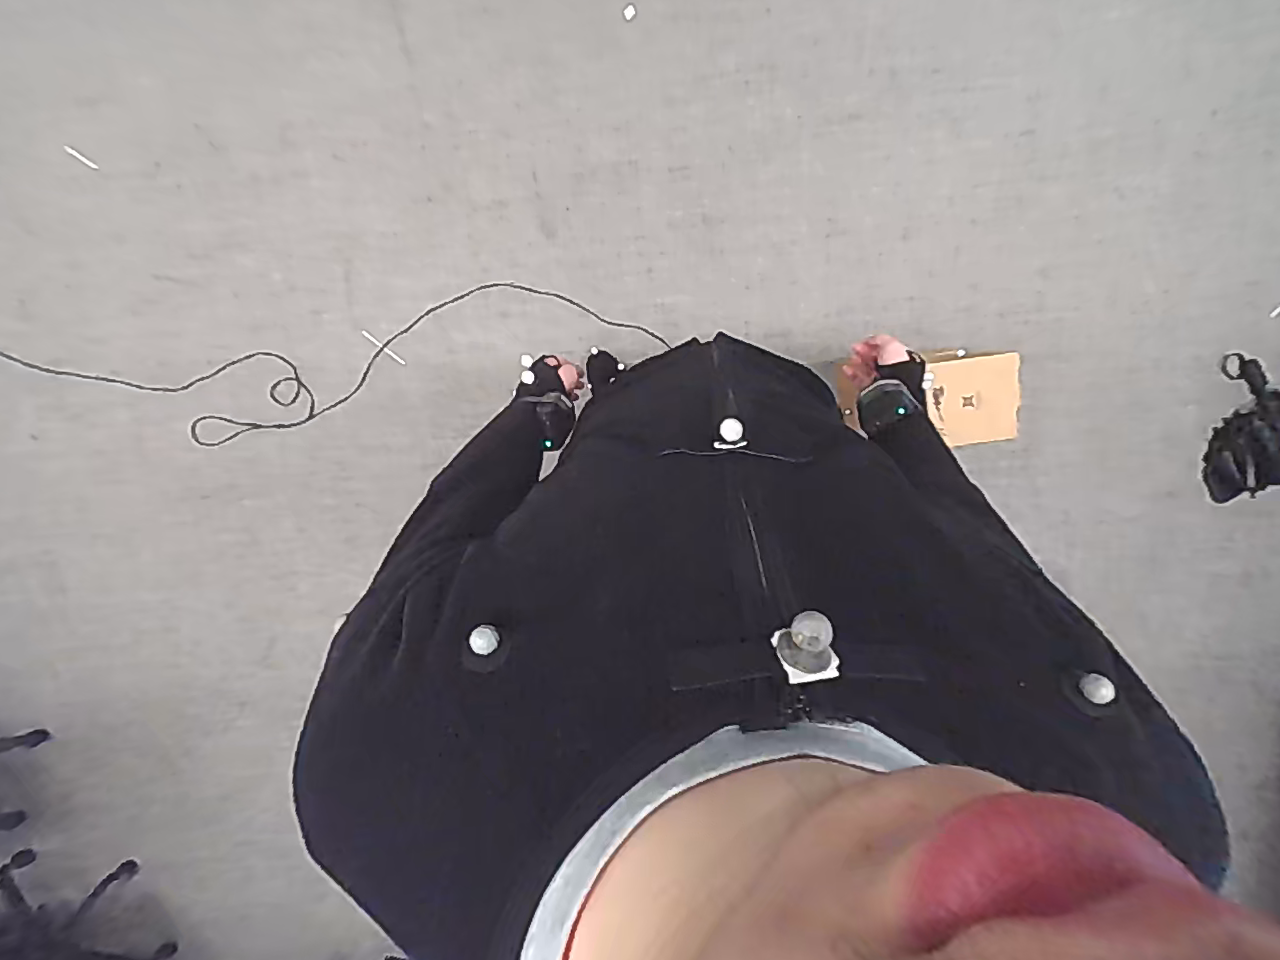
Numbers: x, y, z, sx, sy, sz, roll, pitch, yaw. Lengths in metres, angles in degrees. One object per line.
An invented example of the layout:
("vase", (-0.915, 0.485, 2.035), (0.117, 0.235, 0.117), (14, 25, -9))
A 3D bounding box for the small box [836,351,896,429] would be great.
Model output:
("small box", (0.630, -0.242, 1.426), (0.168, 0.176, 0.179), (-9, 102, 2))

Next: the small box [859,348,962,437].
("small box", (0.628, -0.210, 1.265), (0.168, 0.176, 0.179), (-9, 103, 2))

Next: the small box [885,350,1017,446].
("small box", (0.627, -0.173, 1.106), (0.179, 0.176, 0.168), (-8, 103, 1))
